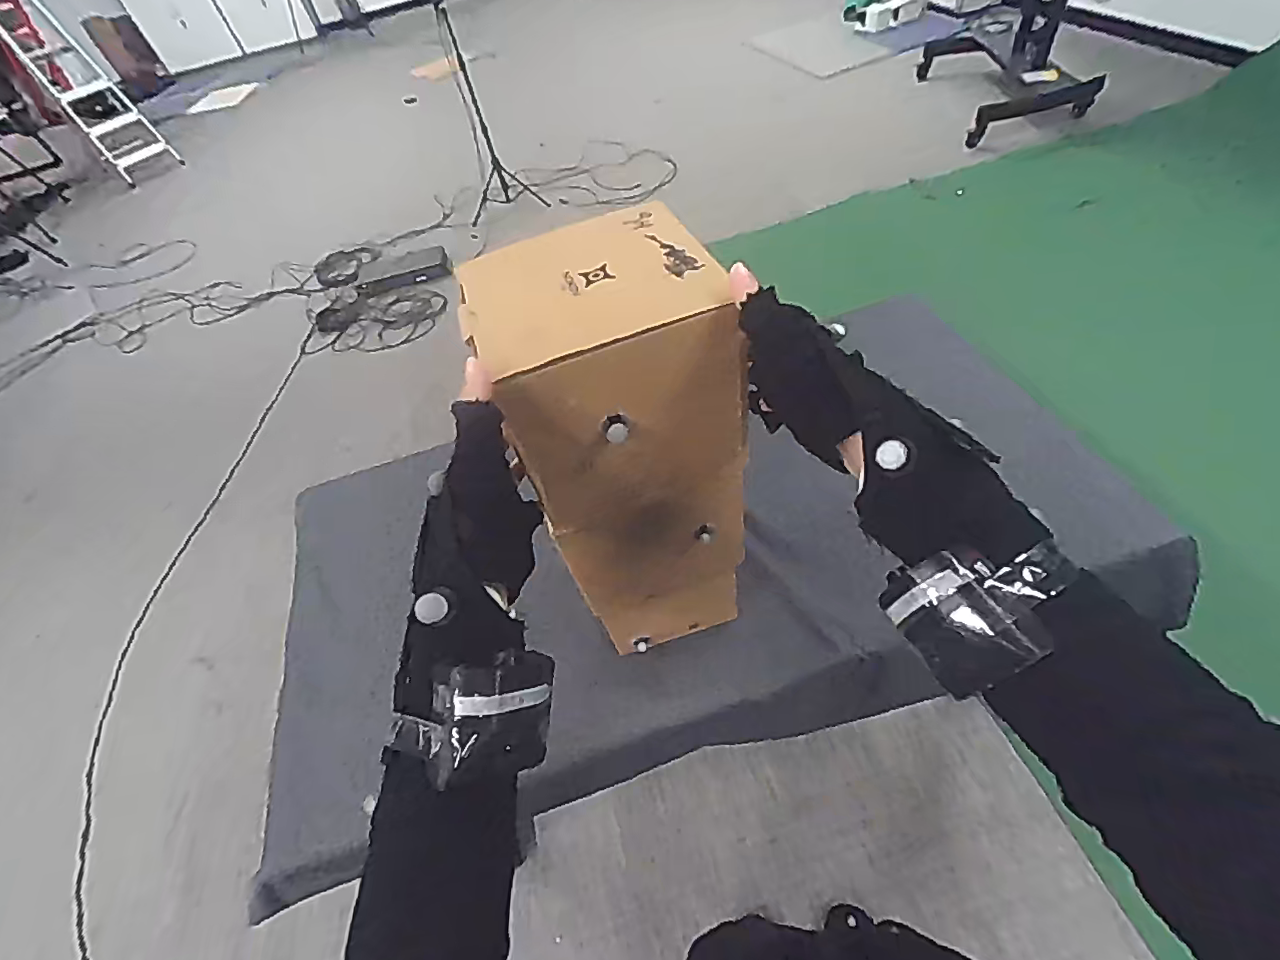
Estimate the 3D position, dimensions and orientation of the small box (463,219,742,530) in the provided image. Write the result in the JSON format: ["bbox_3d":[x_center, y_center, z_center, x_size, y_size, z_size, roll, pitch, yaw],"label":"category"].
[{"bbox_3d":[-0.024,-0.084,0.454,0.179,0.176,0.168,-22,49,-7],"label":"small box"}]

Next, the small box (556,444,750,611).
[{"bbox_3d":[-0.002,0.007,0.566,0.179,0.176,0.168,-22,51,-7],"label":"small box"}]

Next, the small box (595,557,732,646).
[{"bbox_3d":[0.018,0.101,0.717,0.168,0.176,0.179,-17,50,-3],"label":"small box"}]
